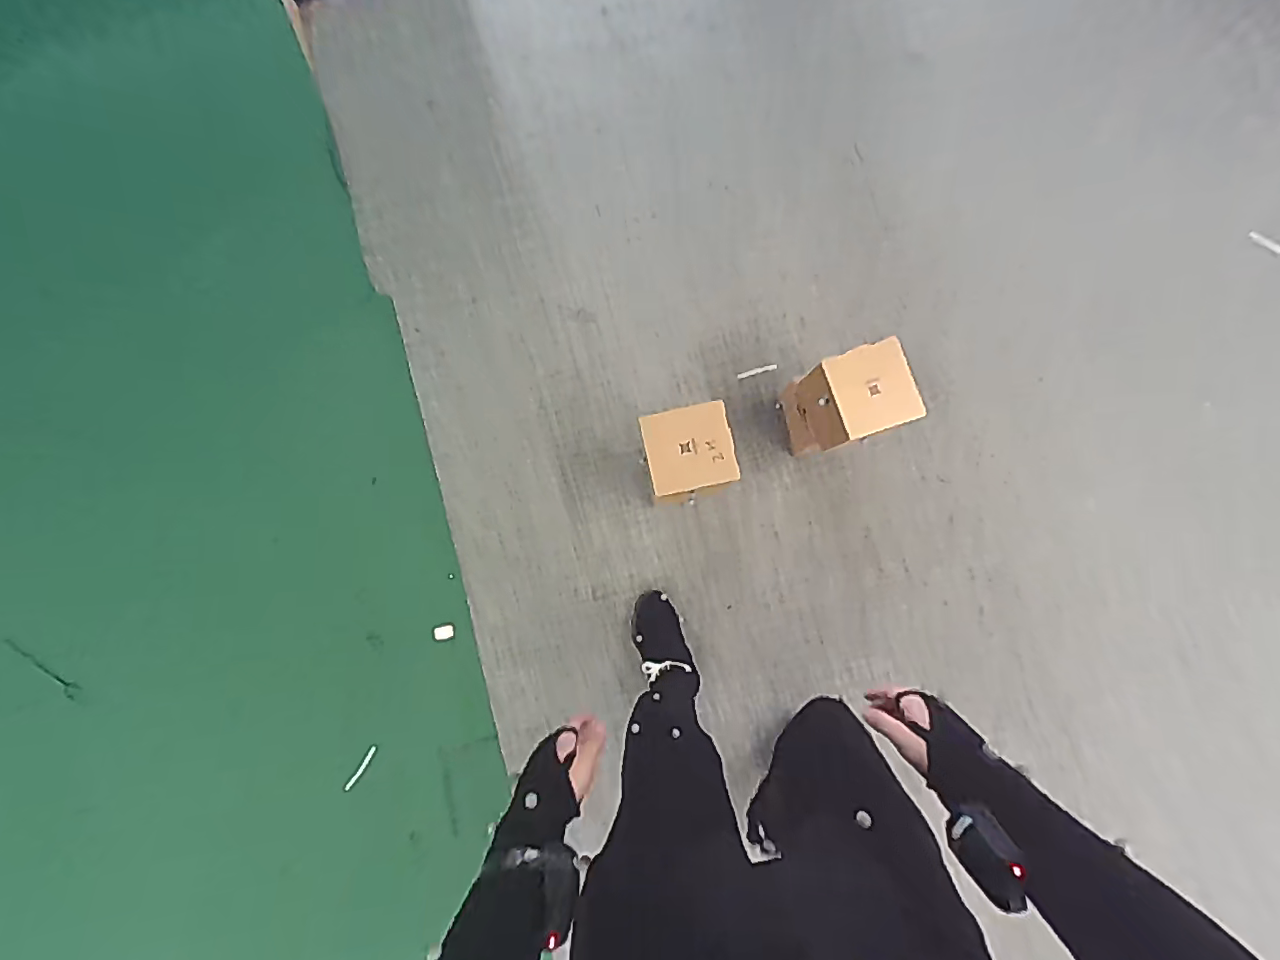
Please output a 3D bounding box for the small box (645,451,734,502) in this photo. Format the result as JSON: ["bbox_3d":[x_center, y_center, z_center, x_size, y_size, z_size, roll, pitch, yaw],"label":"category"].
[{"bbox_3d":[0.111,-0.047,1.306,0.179,0.176,0.168,-13,84,-1],"label":"small box"}]

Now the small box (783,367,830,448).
[{"bbox_3d":[0.460,-0.184,1.313,0.179,0.176,0.168,-15,84,-1],"label":"small box"}]

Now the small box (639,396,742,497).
[{"bbox_3d":[0.101,-0.063,1.142,0.179,0.176,0.168,-13,84,-1],"label":"small box"}]

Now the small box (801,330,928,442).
[{"bbox_3d":[0.467,-0.188,1.151,0.168,0.176,0.179,-19,83,-1],"label":"small box"}]
